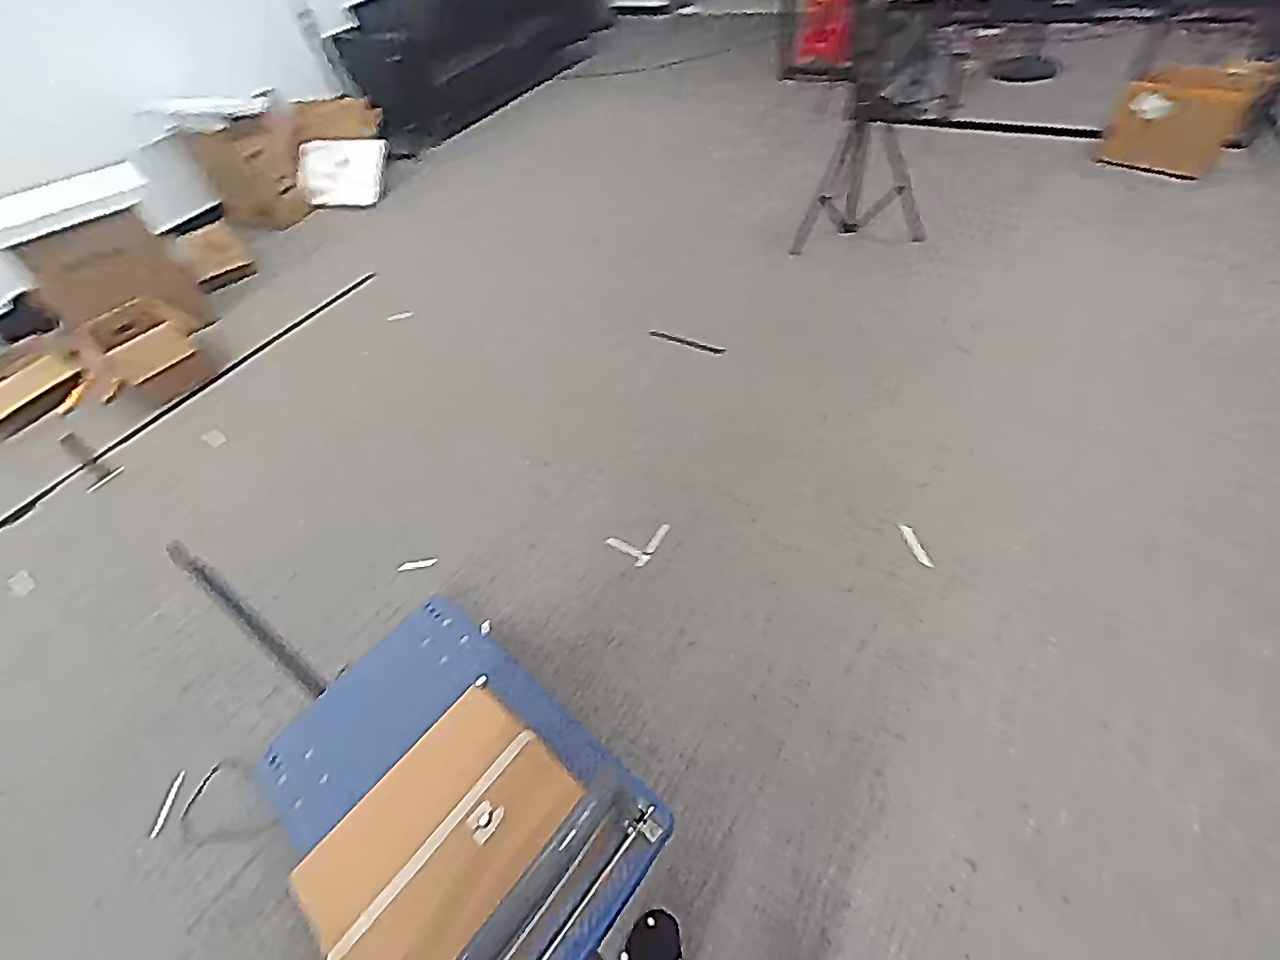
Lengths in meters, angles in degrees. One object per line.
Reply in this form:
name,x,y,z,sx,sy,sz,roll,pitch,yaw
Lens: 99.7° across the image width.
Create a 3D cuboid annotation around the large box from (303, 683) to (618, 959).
large box,-0.300,0.683,1.012,0.320,0.320,0.408,31,61,29
